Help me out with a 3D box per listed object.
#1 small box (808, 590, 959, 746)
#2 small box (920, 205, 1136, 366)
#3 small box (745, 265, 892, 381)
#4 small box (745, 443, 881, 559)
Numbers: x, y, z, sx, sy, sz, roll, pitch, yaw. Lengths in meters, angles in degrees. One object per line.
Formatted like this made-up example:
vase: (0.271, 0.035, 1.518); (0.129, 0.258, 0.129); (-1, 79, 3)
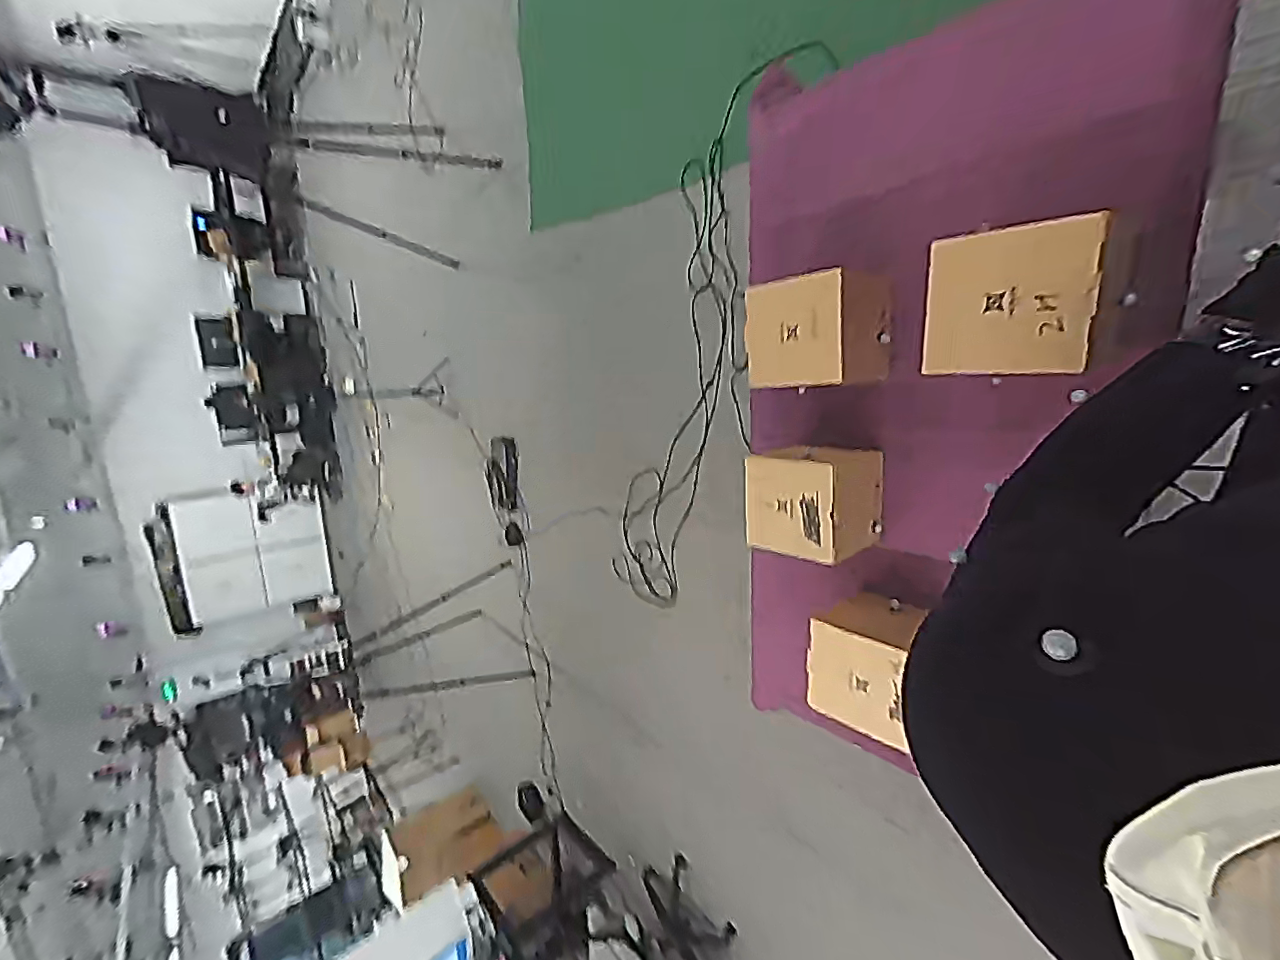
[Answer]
small box: (0.407, 0.301, 0.913); (0.179, 0.176, 0.168); (11, 109, 48)
small box: (0.487, -0.230, 0.686); (0.179, 0.176, 0.168); (13, 109, 49)
small box: (0.297, -0.253, 0.906); (0.179, 0.176, 0.168); (8, 106, 47)
small box: (0.309, 0.026, 0.962); (0.179, 0.176, 0.168); (9, 106, 48)
